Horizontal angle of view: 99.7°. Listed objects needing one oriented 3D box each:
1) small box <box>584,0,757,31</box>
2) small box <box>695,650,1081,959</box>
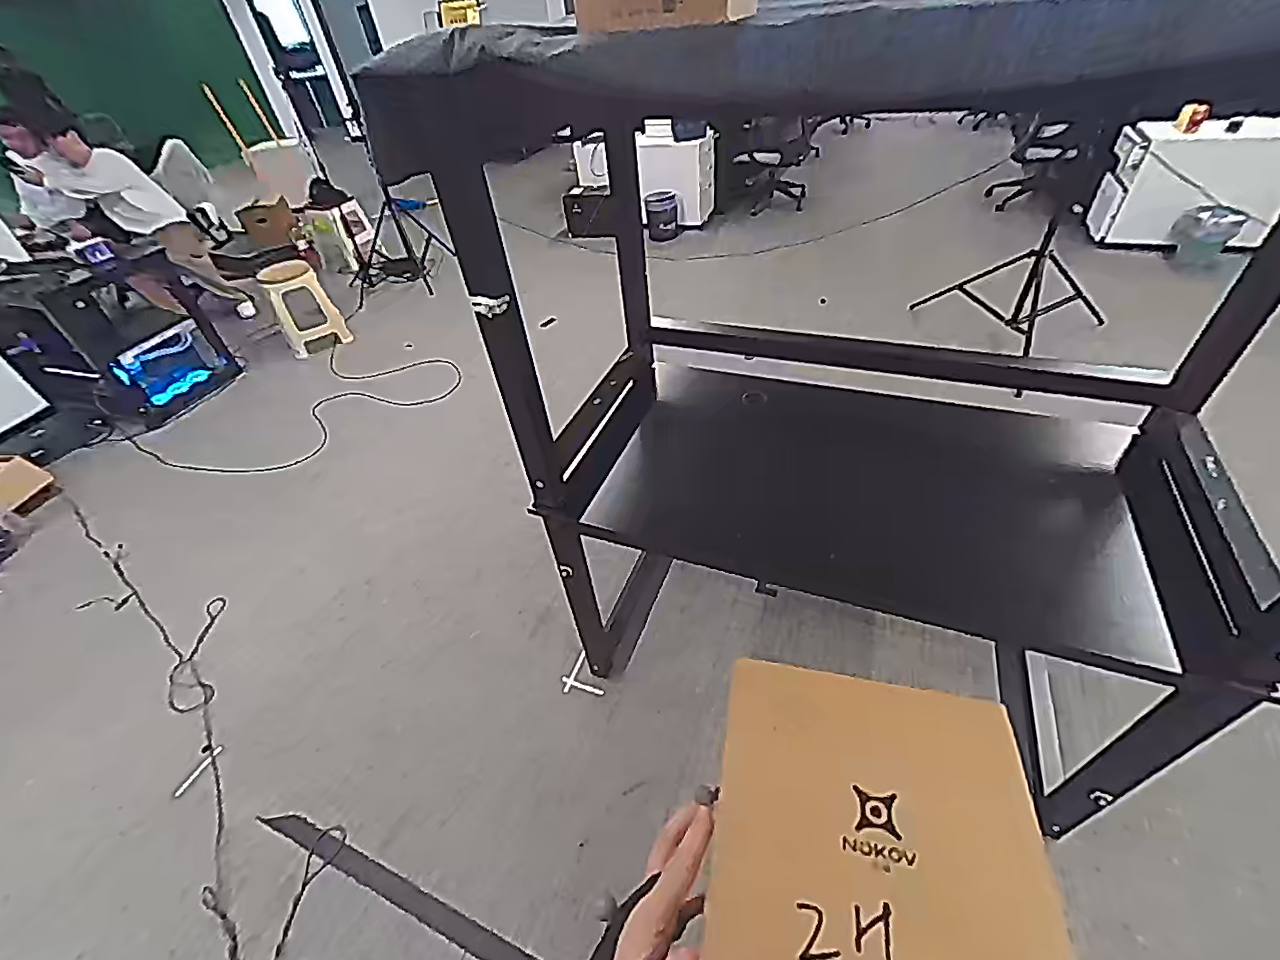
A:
[{"bbox_3d":[0.035,-0.581,0.561,0.168,0.176,0.179,10,44,16],"label":"small box"},{"bbox_3d":[0.127,0.239,0.335,0.168,0.176,0.179,7,43,12],"label":"small box"}]
